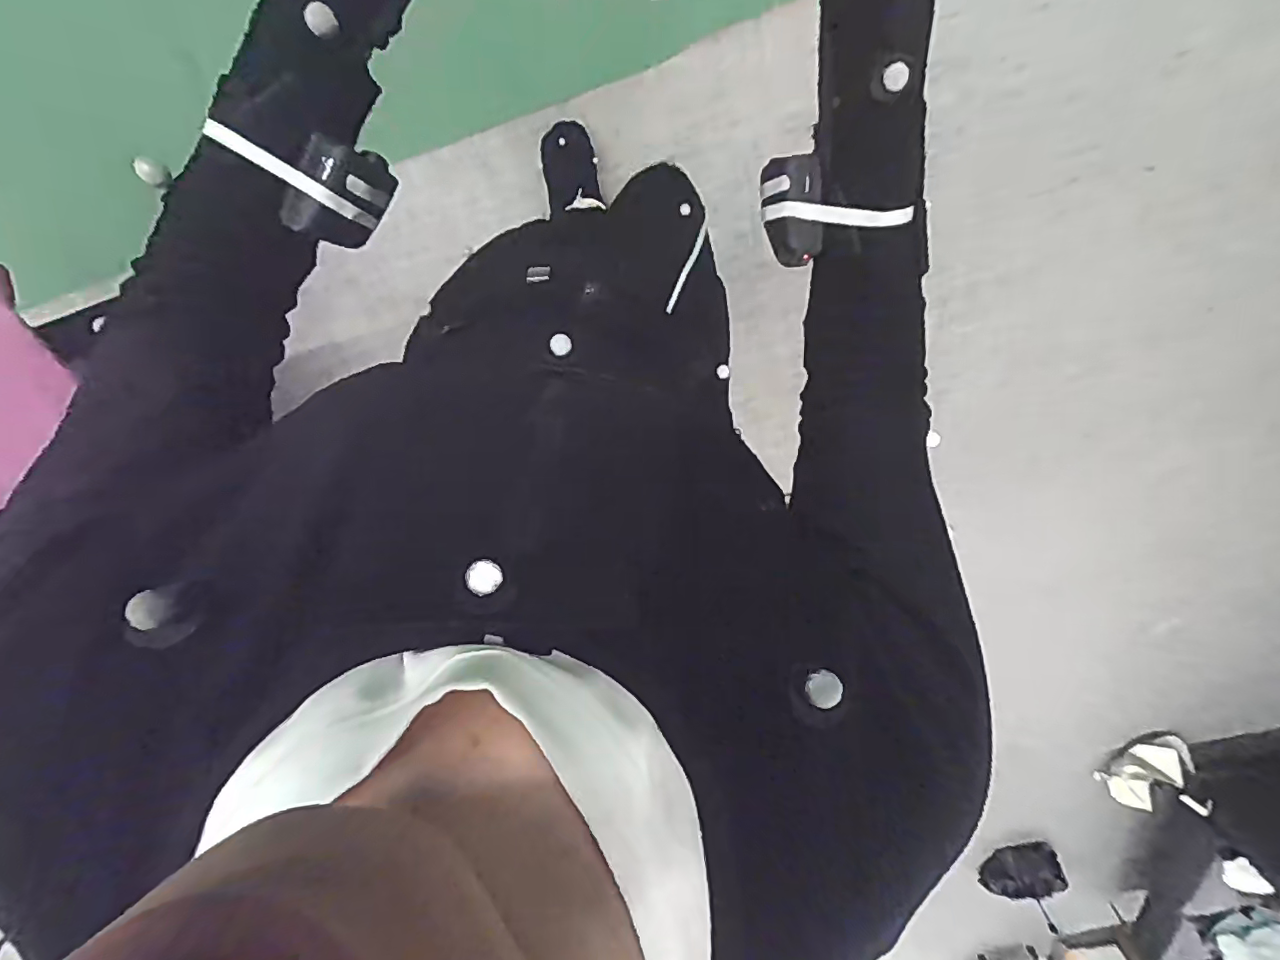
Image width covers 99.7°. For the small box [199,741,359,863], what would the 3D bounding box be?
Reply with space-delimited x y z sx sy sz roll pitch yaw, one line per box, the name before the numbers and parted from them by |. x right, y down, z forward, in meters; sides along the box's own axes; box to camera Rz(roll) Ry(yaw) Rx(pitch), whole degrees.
small box | -0.719 0.664 1.100 0.179 0.176 0.168 -20 123 11
